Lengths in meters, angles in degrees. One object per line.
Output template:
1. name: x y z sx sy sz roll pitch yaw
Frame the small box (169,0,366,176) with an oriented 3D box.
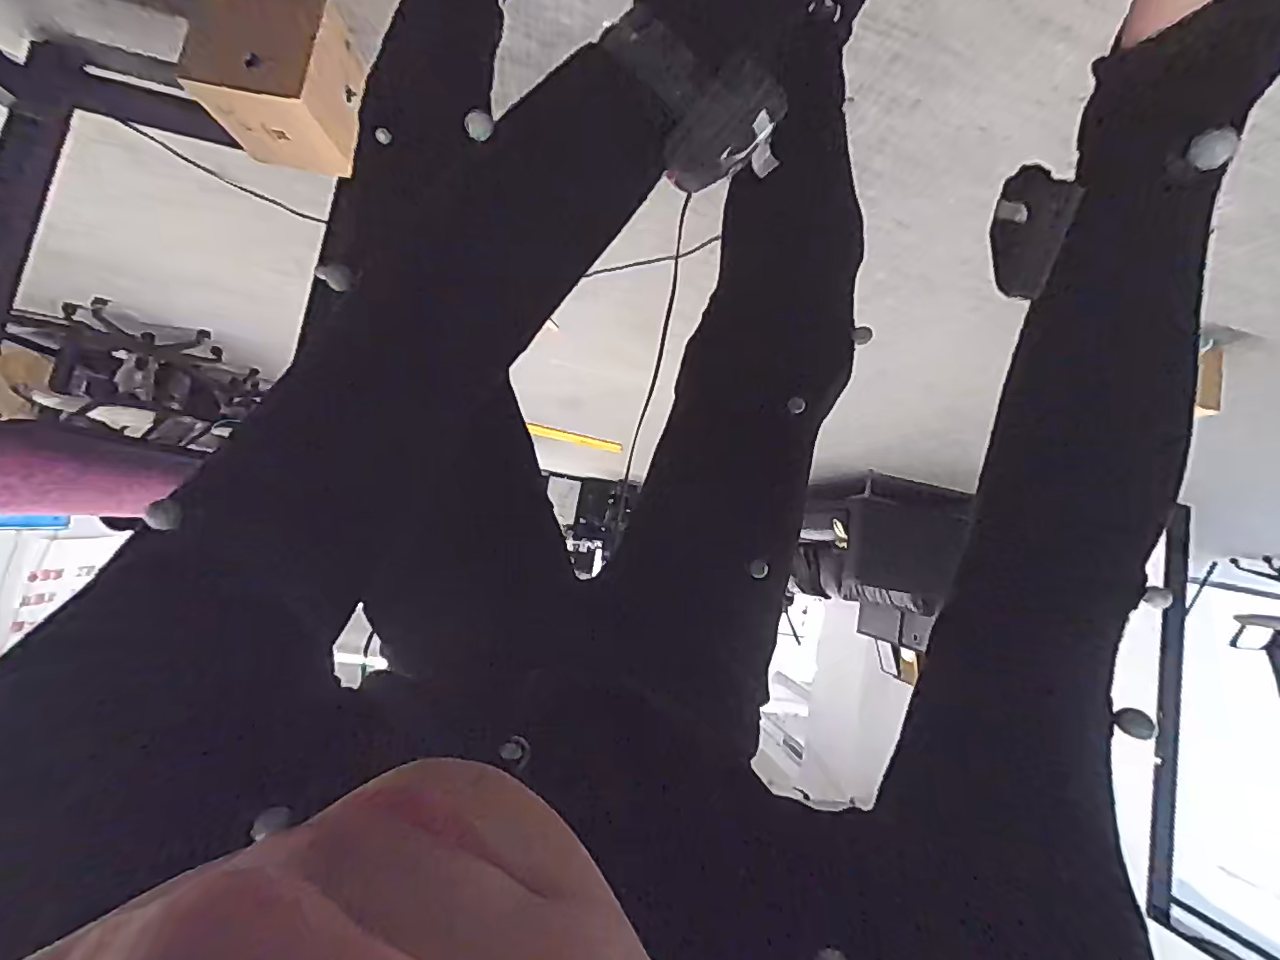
1. small box: -0.529 -0.592 0.798 0.179 0.176 0.168 10 173 -1
